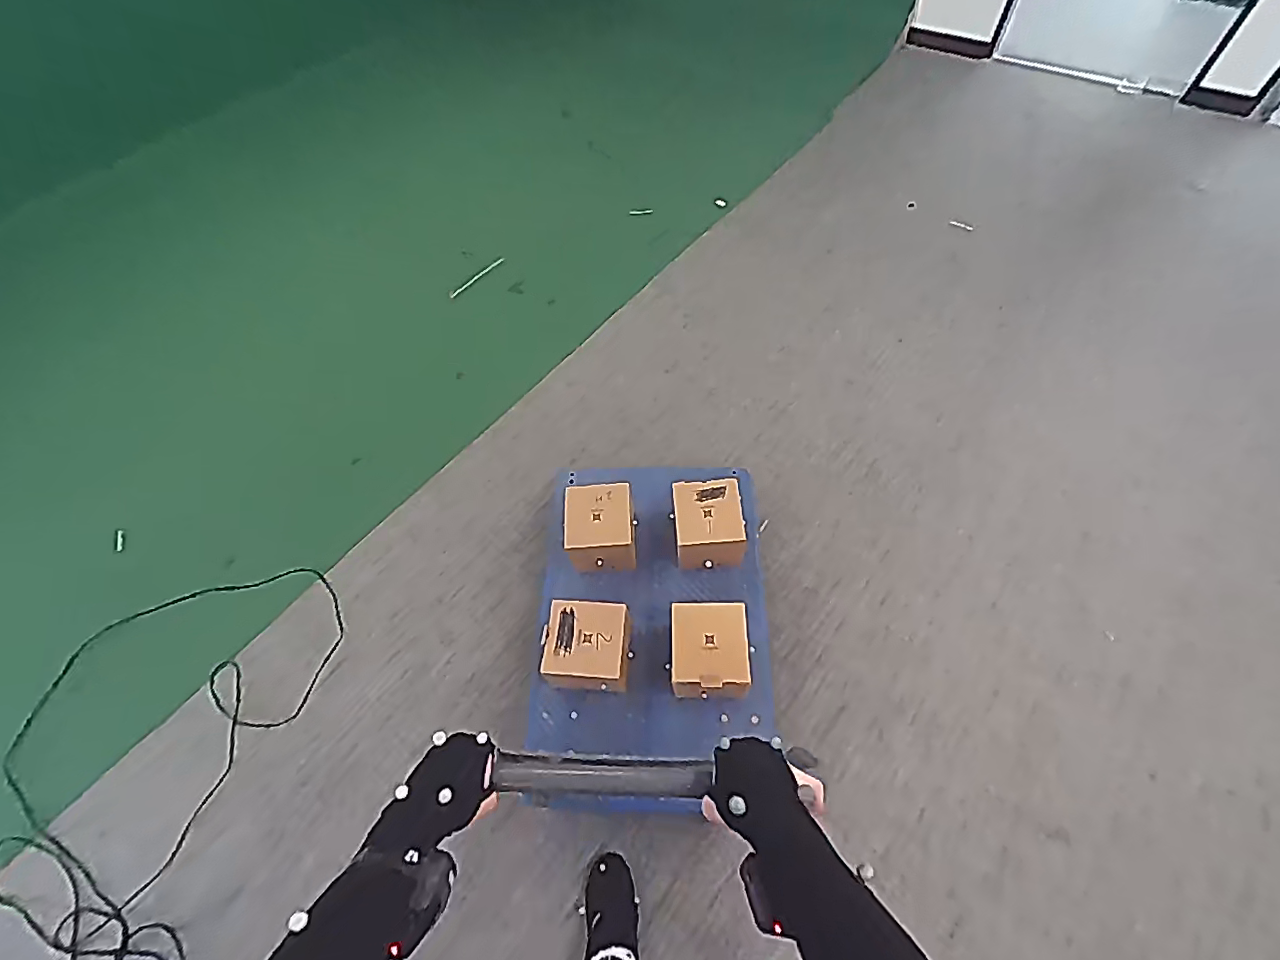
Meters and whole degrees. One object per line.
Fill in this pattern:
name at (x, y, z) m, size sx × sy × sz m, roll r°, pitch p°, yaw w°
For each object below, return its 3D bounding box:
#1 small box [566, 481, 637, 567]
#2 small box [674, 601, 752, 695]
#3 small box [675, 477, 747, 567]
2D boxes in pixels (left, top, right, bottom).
small box at (-0.097, 0.121, 1.417) m, size 0.168 × 0.176 × 0.179 m, roll -3°, pitch 60°, yaw 1°
small box at (0.161, 0.388, 1.244) m, size 0.168 × 0.176 × 0.179 m, roll -1°, pitch 60°, yaw 4°
small box at (0.178, 0.112, 1.402) m, size 0.168 × 0.176 × 0.179 m, roll -4°, pitch 61°, yaw 2°
